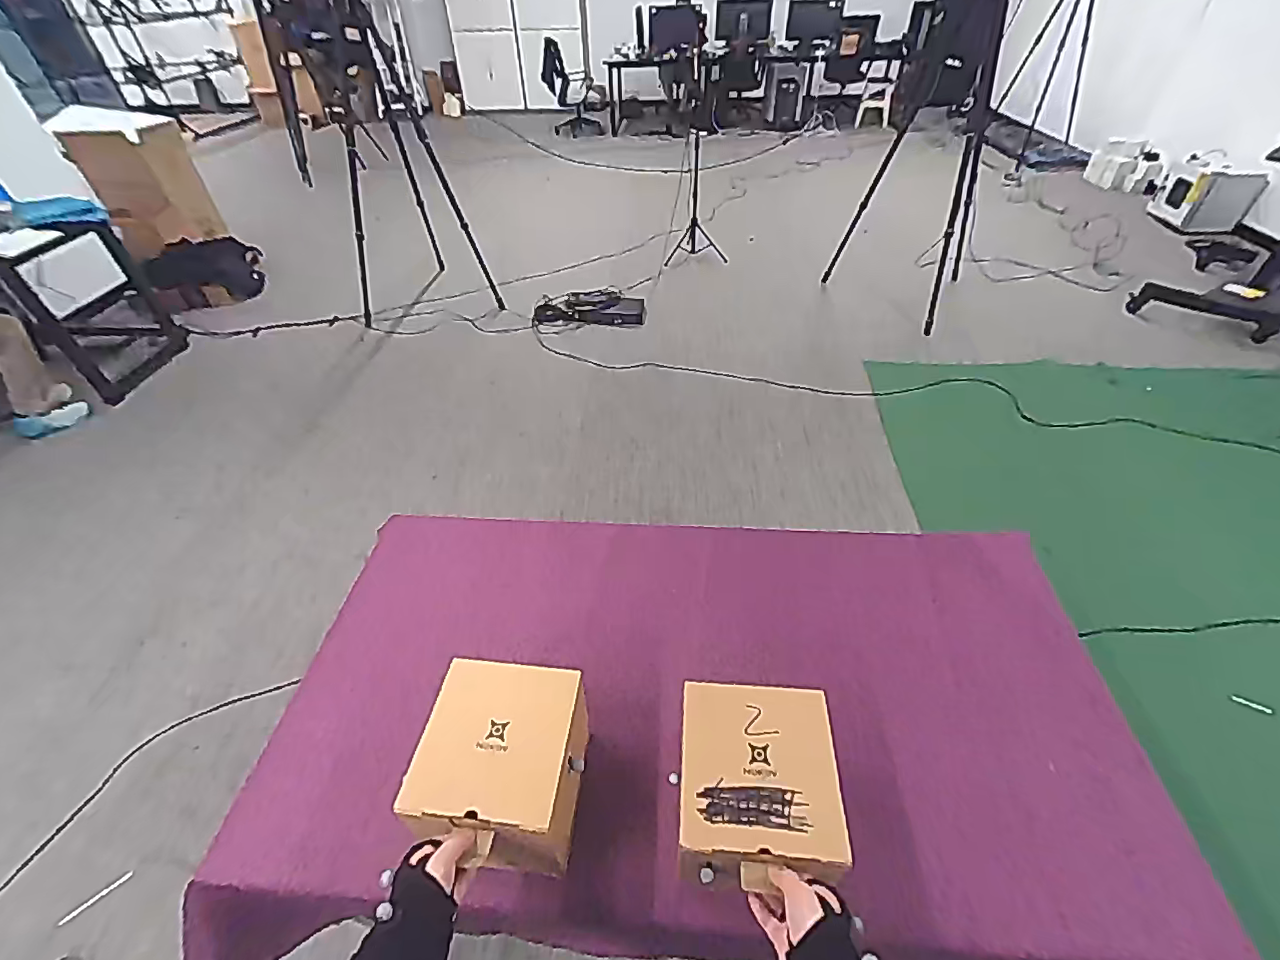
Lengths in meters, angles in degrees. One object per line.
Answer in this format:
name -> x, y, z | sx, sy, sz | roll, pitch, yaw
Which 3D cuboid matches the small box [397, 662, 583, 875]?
small box -> -0.167, 0.357, 0.674 | 0.168, 0.176, 0.179 | 5, 42, 5
